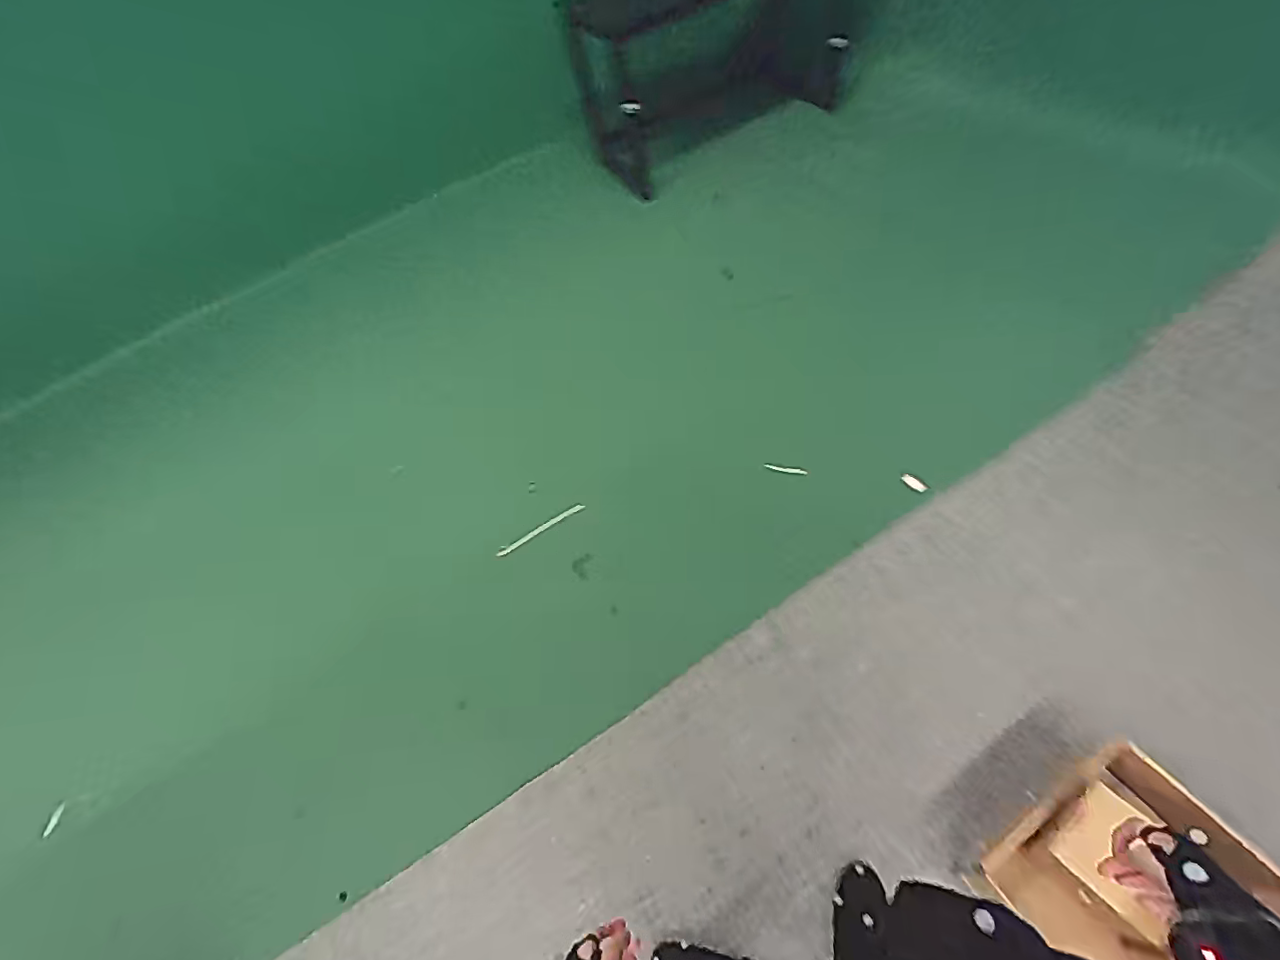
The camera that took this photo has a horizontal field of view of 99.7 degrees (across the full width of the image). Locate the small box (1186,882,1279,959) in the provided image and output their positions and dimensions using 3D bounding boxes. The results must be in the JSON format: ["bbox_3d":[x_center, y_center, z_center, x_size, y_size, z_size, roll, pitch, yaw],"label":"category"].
[{"bbox_3d":[0.946,0.711,0.765,0.179,0.176,0.168,-42,57,-14],"label":"small box"}]
